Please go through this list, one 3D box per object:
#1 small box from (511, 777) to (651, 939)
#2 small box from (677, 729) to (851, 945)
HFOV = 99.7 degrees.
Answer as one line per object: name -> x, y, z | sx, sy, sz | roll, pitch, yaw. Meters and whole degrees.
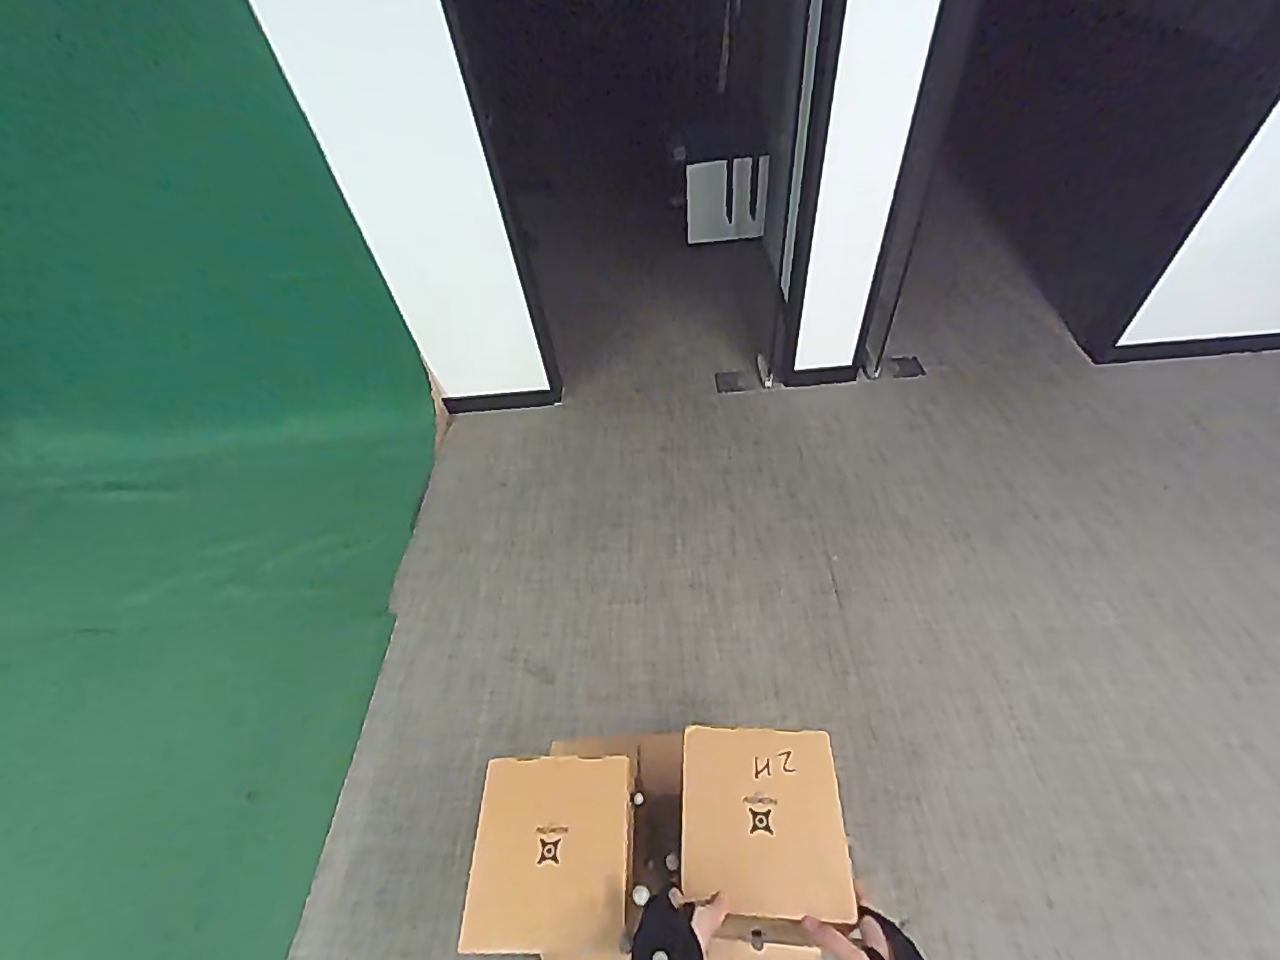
small box -> -0.073, 0.542, 0.776 | 0.168, 0.176, 0.179 | -3, 51, 4
small box -> 0.134, 0.413, 0.626 | 0.168, 0.176, 0.179 | 0, 45, 7
